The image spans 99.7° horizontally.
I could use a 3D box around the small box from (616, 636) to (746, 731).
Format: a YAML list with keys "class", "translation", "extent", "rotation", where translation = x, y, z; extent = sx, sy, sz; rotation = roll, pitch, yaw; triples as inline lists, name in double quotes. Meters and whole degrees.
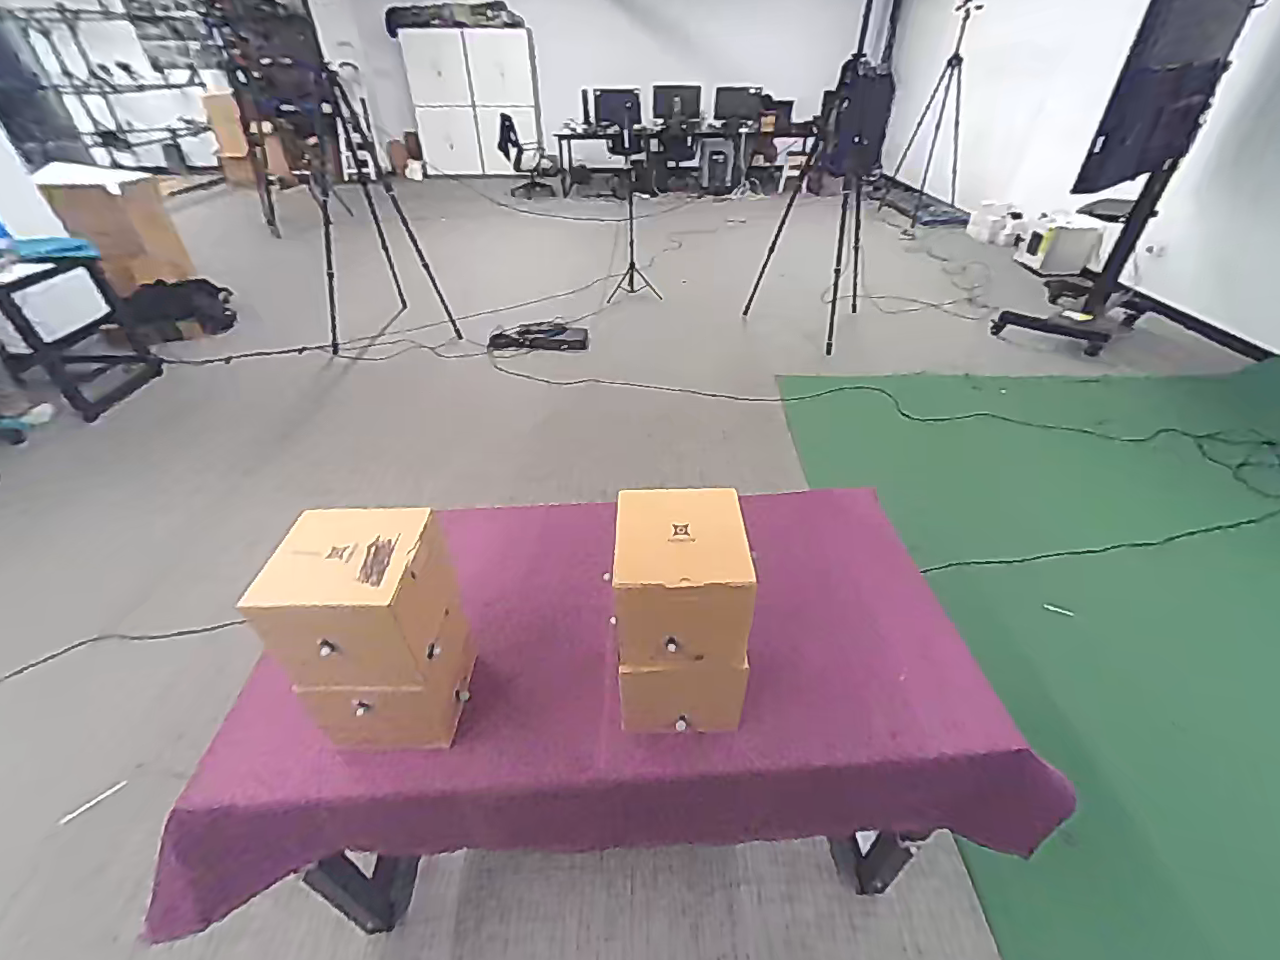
- class: "small box"
  translation: [0.053, 0.267, 0.832]
  extent: [0.179, 0.176, 0.168]
  rotation: [-1, 38, -1]

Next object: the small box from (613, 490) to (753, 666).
- class: "small box"
  translation: [0.050, 0.131, 0.740]
  extent: [0.168, 0.176, 0.179]
  rotation: [-1, 39, 0]

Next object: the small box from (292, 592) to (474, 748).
- class: "small box"
  translation: [-0.367, 0.285, 0.813]
  extent: [0.179, 0.176, 0.168]
  rotation: [0, 39, 0]

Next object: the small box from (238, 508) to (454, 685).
- class: "small box"
  translation: [-0.363, 0.154, 0.714]
  extent: [0.179, 0.176, 0.168]
  rotation: [-1, 39, 0]
